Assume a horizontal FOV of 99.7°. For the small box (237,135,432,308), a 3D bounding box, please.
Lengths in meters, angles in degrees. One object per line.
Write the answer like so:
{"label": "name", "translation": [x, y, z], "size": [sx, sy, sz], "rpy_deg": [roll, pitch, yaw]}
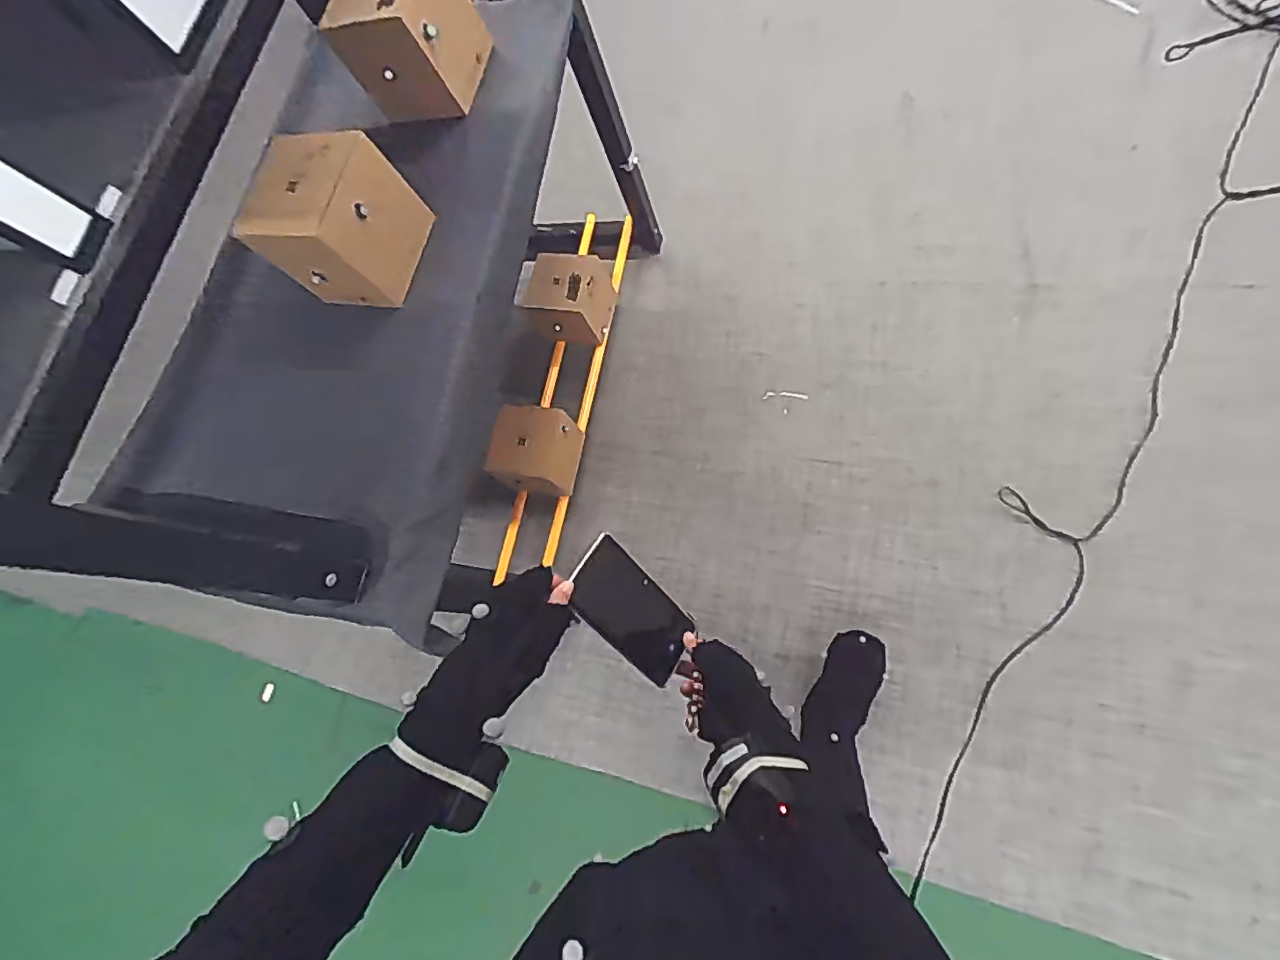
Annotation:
{"label": "small box", "translation": [-0.452, -0.384, 0.827], "size": [0.168, 0.176, 0.179], "rpy_deg": [10, 76, 18]}

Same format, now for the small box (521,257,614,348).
{"label": "small box", "translation": [-0.186, -0.472, 1.455], "size": [0.179, 0.176, 0.168], "rpy_deg": [10, 76, 19]}
